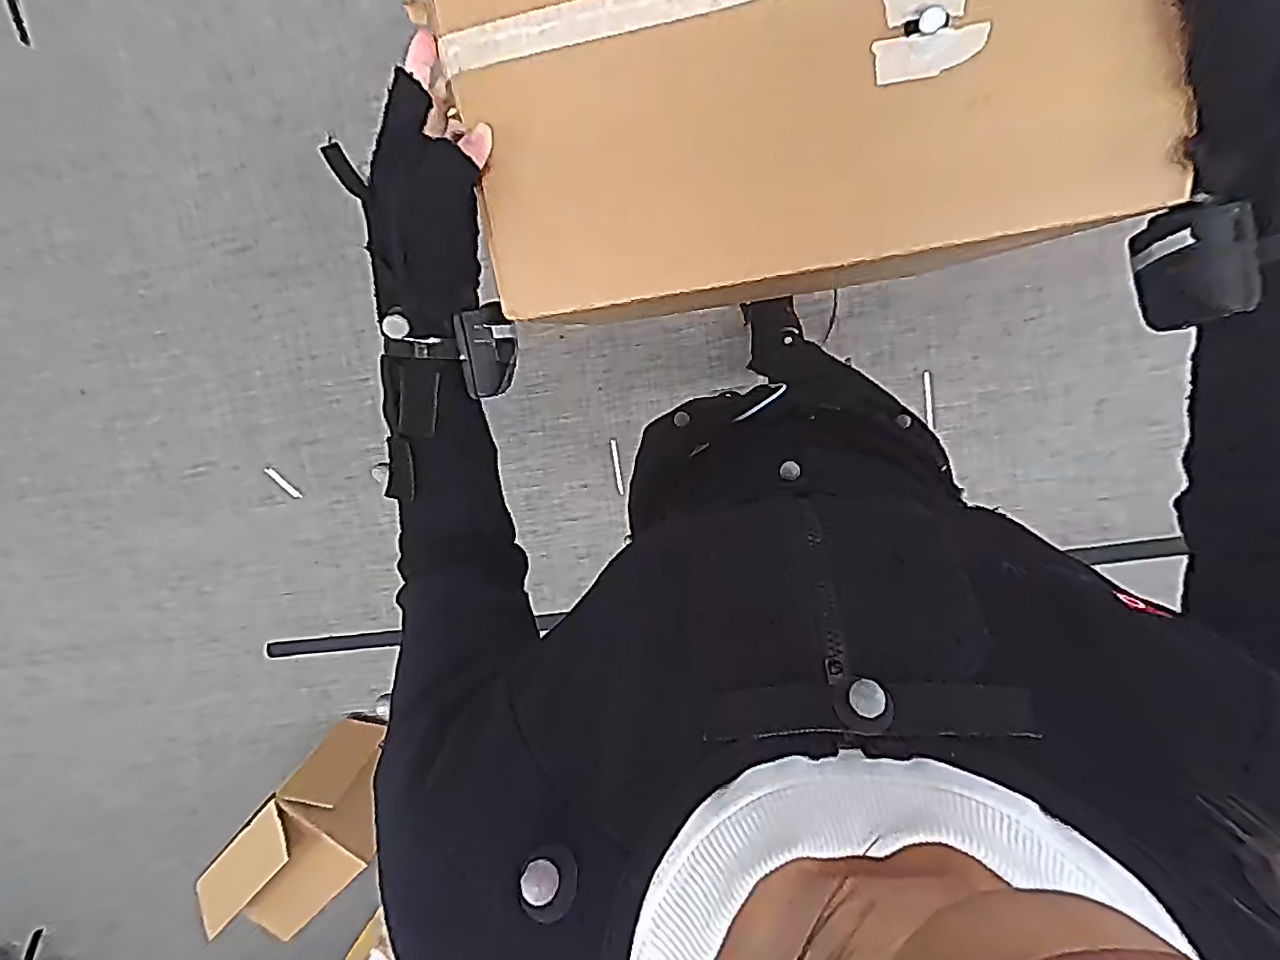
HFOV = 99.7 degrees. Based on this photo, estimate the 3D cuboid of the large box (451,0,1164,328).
[{"bbox_3d":[0.097,-0.323,0.456,0.408,0.320,0.320,-8,104,8],"label":"large box"}]
